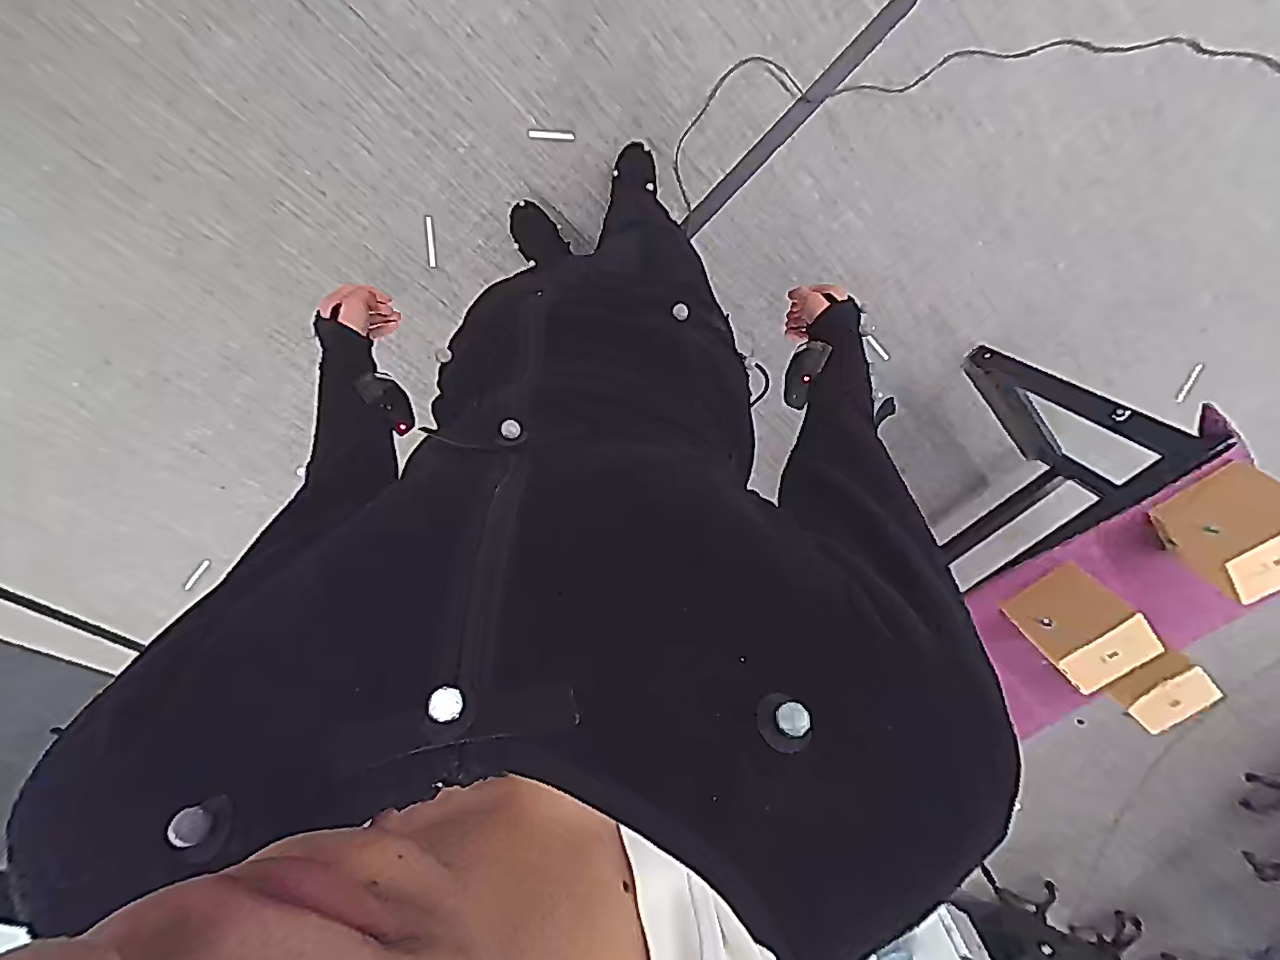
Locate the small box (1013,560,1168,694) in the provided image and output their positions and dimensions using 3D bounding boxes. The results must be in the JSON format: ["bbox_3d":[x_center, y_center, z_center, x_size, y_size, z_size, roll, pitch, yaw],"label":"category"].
[{"bbox_3d":[0.935,0.307,1.142,0.179,0.176,0.168,-42,117,17],"label":"small box"}]

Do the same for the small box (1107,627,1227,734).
[{"bbox_3d":[1.171,0.444,1.252,0.179,0.176,0.168,36,109,-23],"label":"small box"}]
